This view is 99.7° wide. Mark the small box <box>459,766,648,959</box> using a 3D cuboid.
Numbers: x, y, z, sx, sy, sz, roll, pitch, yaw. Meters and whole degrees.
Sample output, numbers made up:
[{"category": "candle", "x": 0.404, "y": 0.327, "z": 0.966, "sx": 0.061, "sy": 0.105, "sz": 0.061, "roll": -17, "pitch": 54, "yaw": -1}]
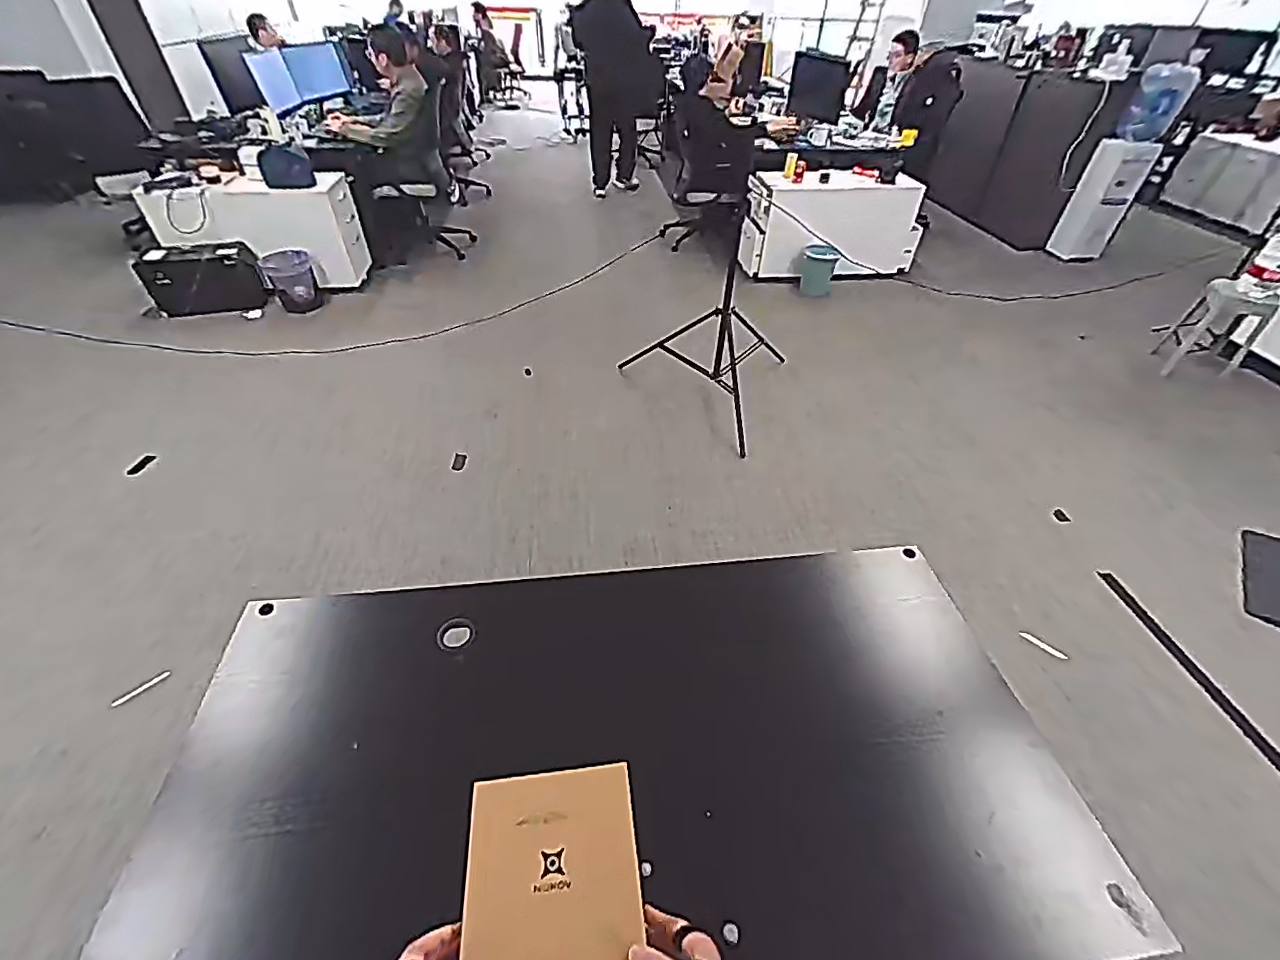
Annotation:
[{"category": "small box", "x": -0.085, "y": 0.432, "z": 0.566, "sx": 0.168, "sy": 0.176, "sz": 0.179, "roll": -4, "pitch": 42, "yaw": -8}]
